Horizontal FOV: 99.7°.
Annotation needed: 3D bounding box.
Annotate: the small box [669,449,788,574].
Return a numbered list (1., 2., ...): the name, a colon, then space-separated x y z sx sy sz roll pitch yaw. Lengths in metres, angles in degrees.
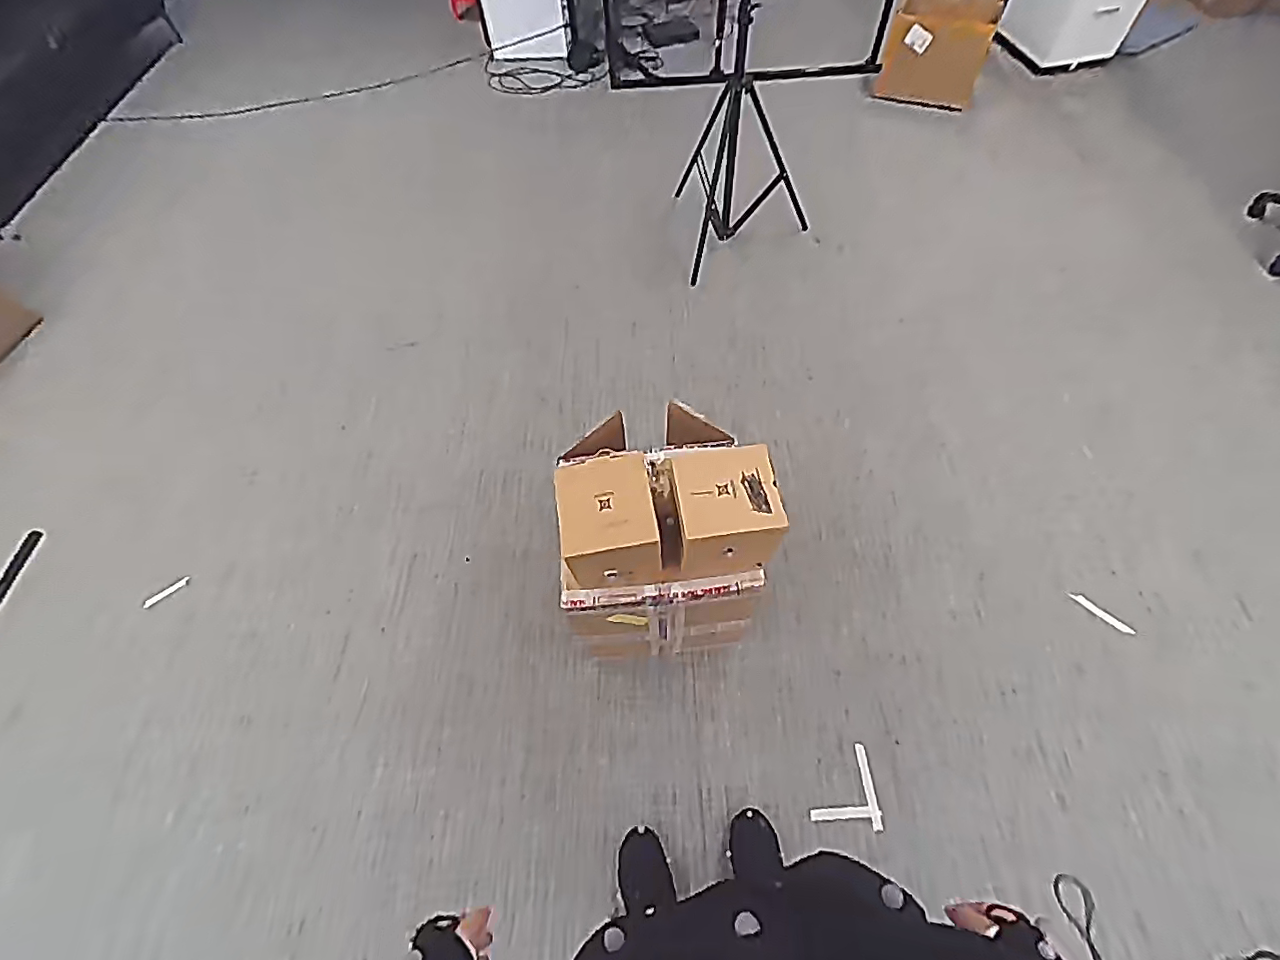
1. small box: 0.152 0.063 0.999 0.179 0.176 0.168 -7 61 -2

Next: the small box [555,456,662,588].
1. small box: -0.054 0.082 1.001 0.168 0.176 0.179 -11 63 -1
